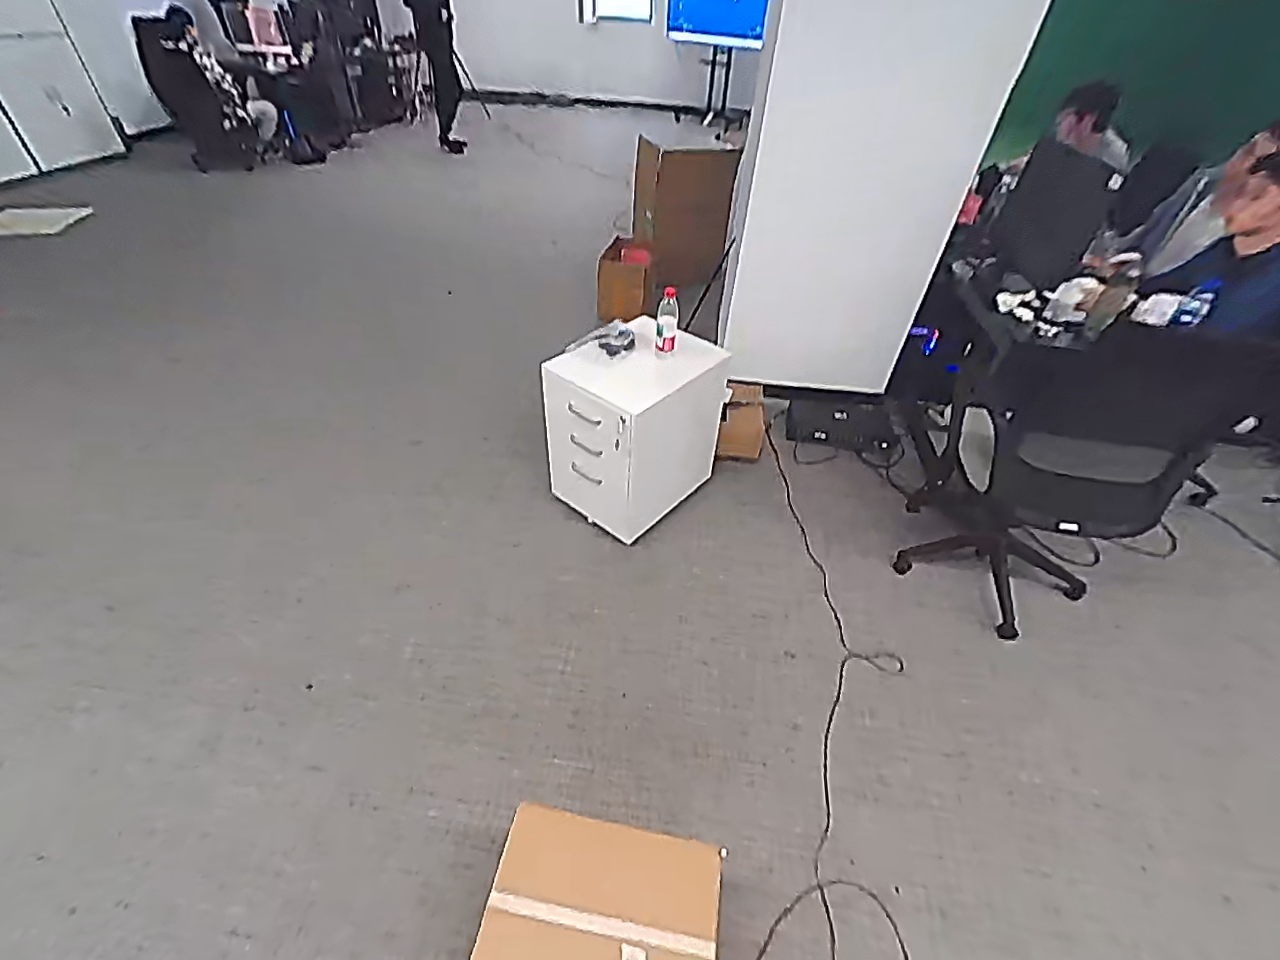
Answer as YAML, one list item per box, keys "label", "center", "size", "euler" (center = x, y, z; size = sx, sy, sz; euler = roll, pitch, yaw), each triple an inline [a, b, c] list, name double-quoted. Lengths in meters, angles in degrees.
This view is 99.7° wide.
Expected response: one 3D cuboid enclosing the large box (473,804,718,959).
- label: "large box"
  center: [-0.080, 0.883, 1.045]
  size: [0.408, 0.320, 0.320]
  euler: [10, 43, 5]
